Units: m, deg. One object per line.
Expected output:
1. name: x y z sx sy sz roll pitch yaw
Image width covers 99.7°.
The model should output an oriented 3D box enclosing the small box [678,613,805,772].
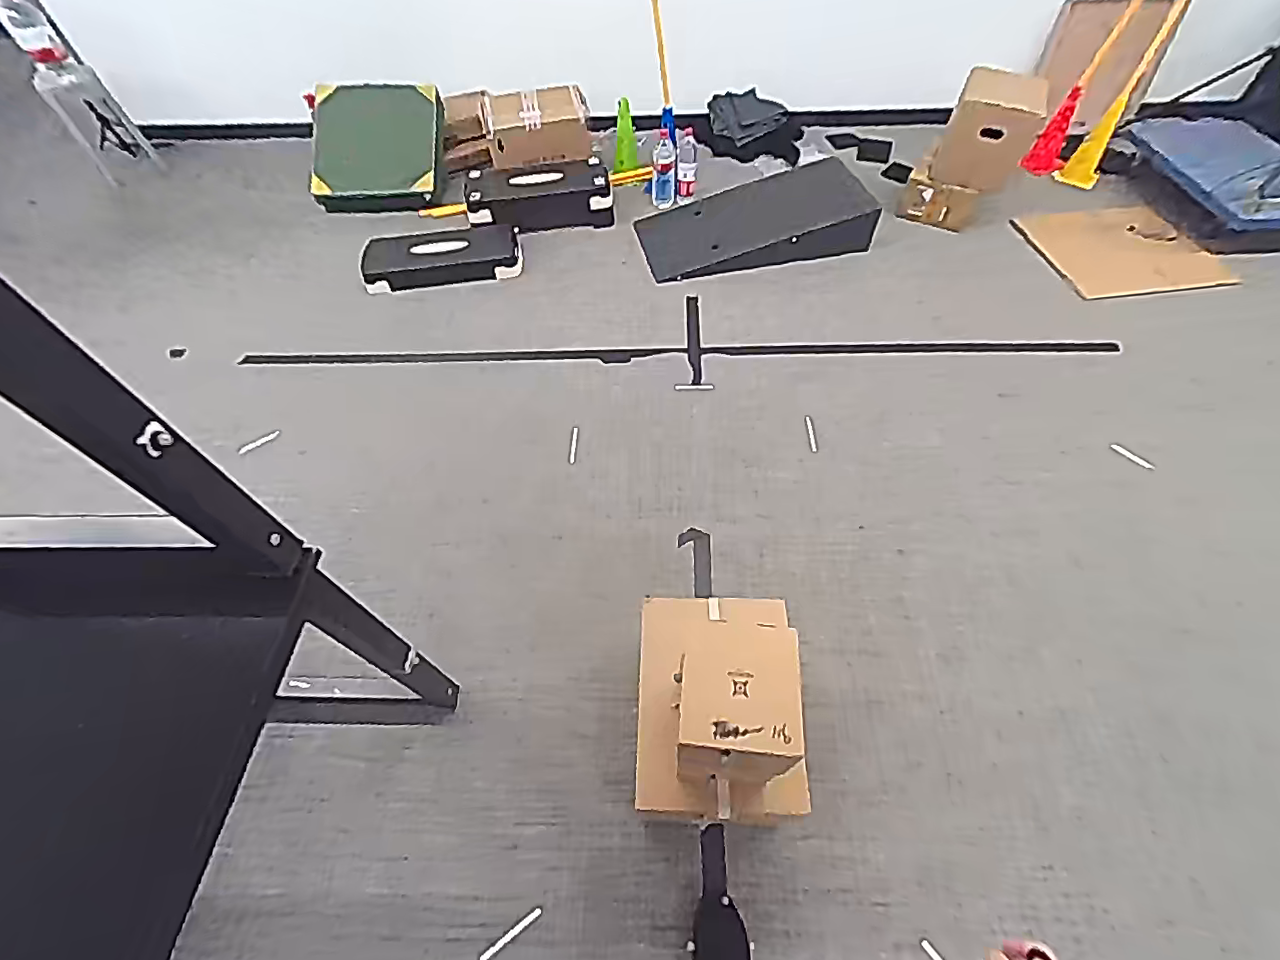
1. small box: 0.146 0.322 0.816 0.168 0.176 0.179 4 54 6

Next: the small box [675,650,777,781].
1. small box: 0.150 0.414 0.952 0.168 0.176 0.179 3 55 5

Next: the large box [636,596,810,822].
1. large box: 0.154 0.506 1.186 0.320 0.320 0.408 1 54 1
